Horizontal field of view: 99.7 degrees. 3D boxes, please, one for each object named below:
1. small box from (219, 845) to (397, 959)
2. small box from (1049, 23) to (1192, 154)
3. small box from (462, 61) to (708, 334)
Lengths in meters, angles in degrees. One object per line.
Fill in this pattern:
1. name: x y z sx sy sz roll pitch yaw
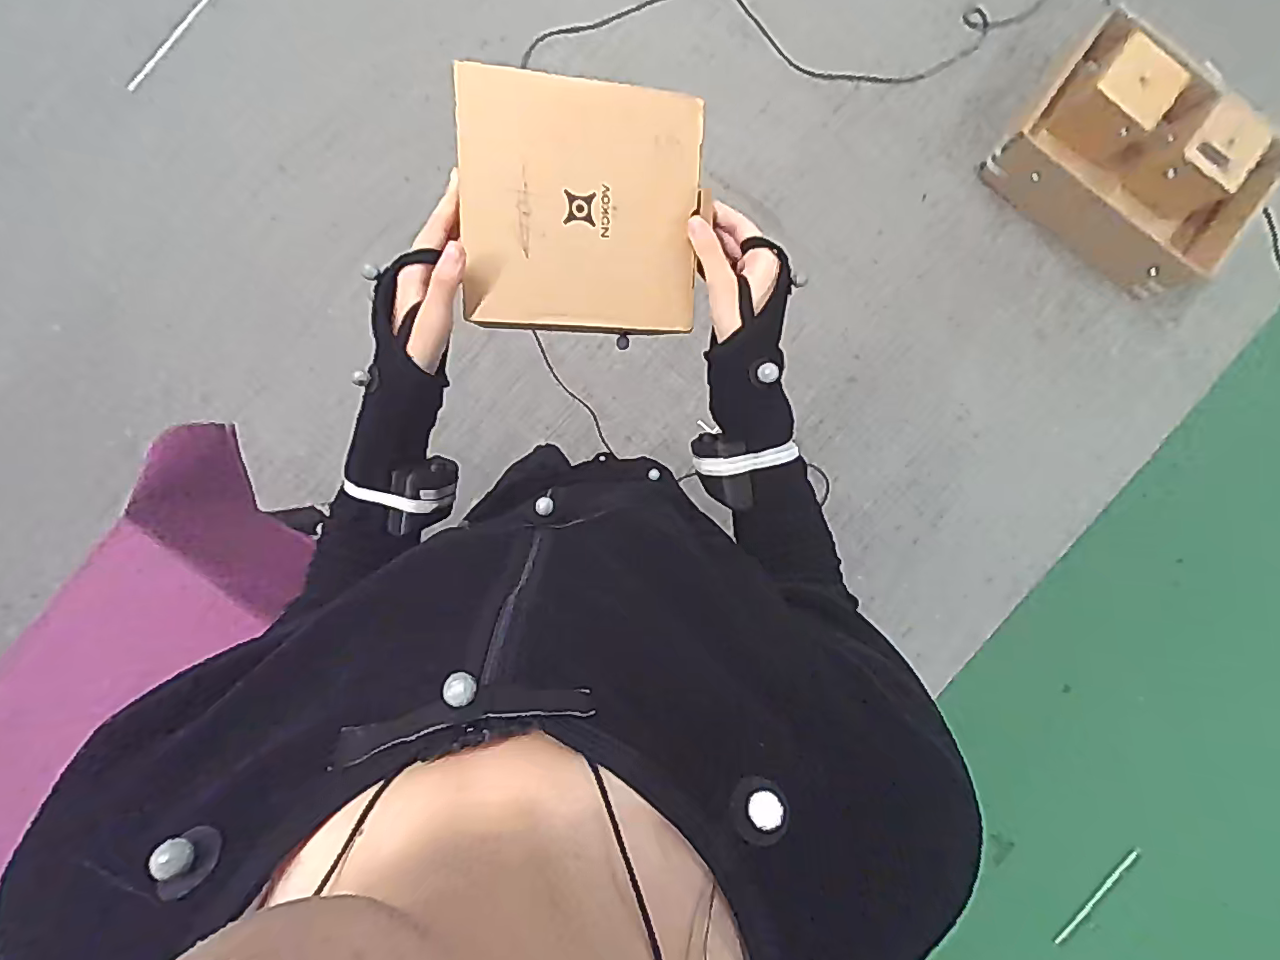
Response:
1. small box: -0.461 0.652 0.723 0.168 0.176 0.179 33 91 -4
2. small box: 1.202 -0.976 1.369 0.179 0.176 0.168 35 93 -5
3. small box: -0.056 -0.218 0.472 0.179 0.176 0.168 1 104 -11
